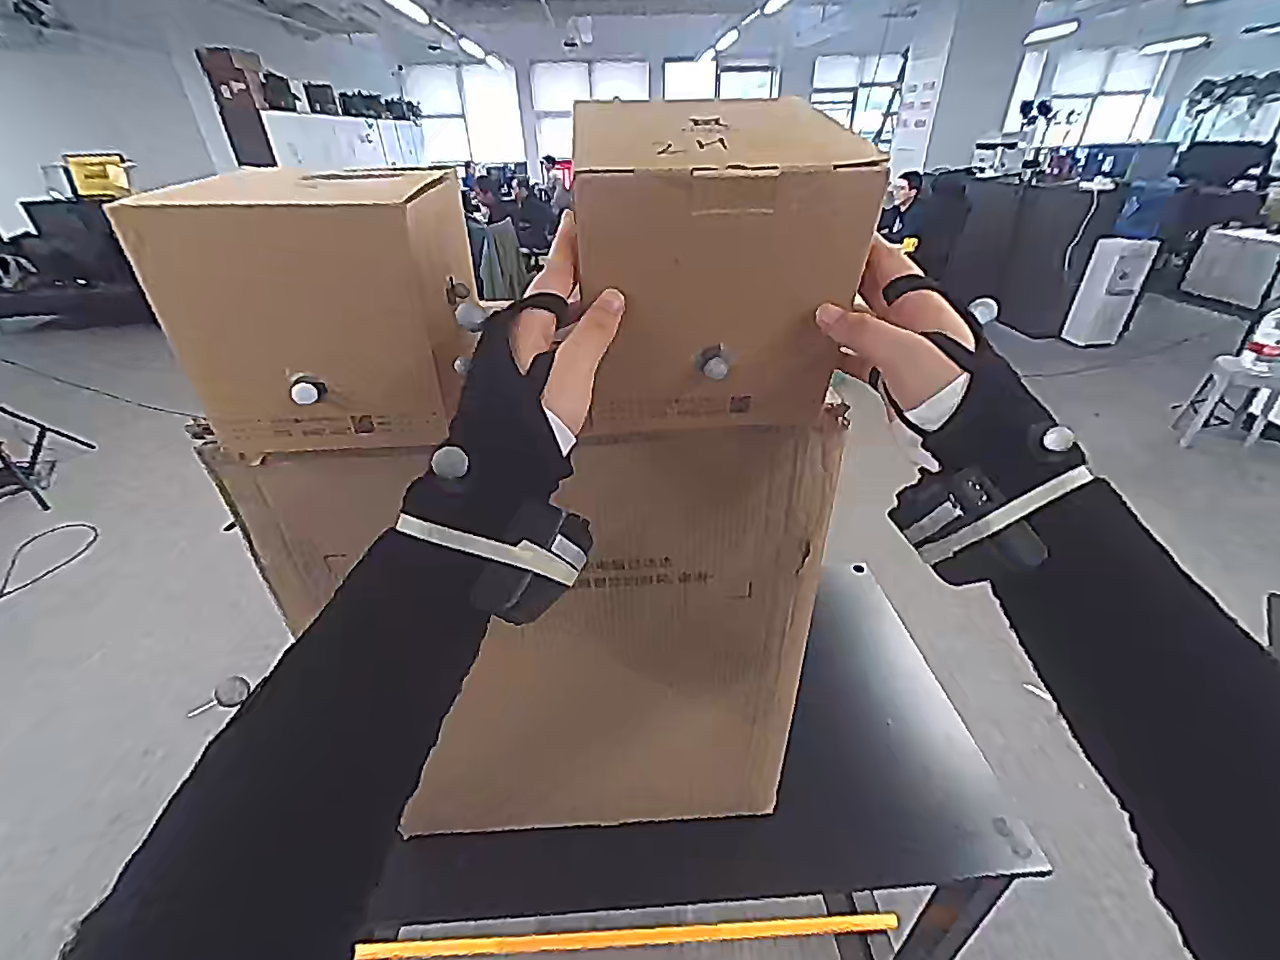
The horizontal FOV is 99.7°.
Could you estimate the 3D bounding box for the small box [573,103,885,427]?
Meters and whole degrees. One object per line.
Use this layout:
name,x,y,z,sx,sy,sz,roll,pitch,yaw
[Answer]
small box,0.041,-0.157,0.391,0.168,0.176,0.179,-3,44,-3
